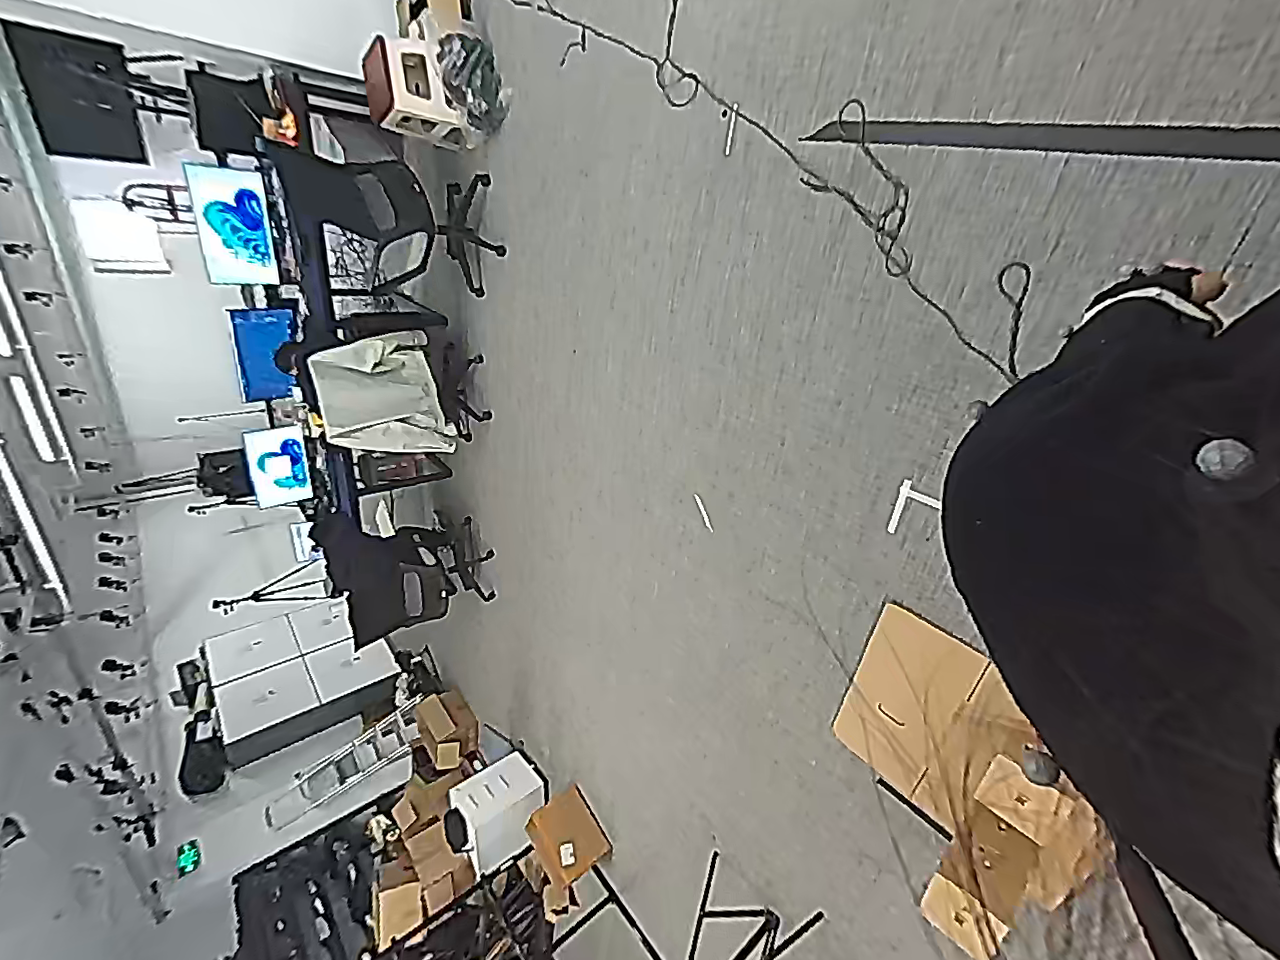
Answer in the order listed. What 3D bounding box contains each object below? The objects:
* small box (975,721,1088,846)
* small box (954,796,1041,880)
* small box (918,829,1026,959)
[{"bbox_3d":[0.984,0.749,1.355,0.168,0.176,0.179,31,126,41],"label":"small box"},{"bbox_3d":[0.961,1.005,1.471,0.168,0.176,0.179,25,121,43],"label":"small box"},{"bbox_3d":[0.840,1.045,1.366,0.168,0.176,0.179,27,122,41],"label":"small box"}]
